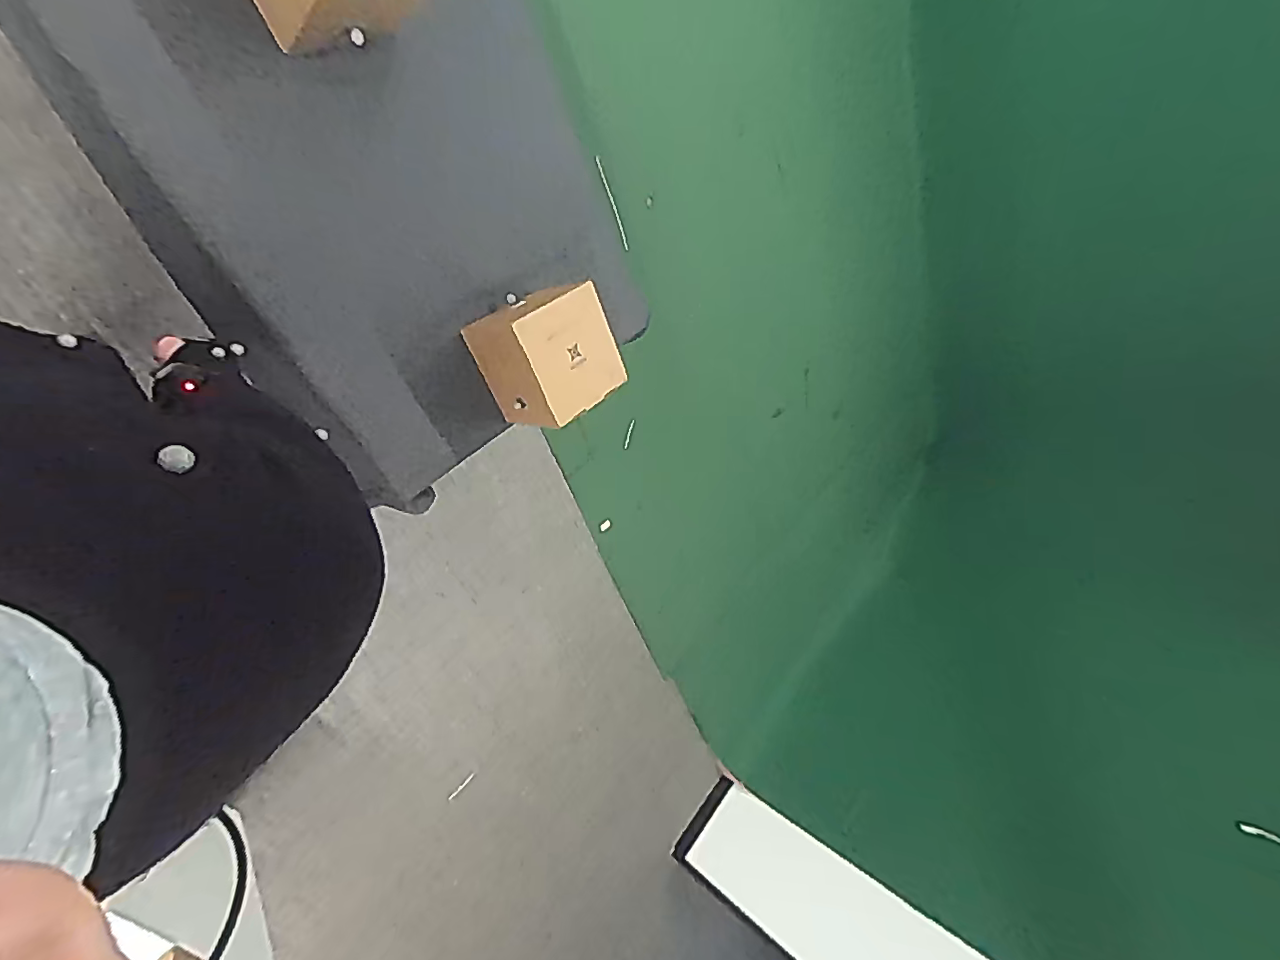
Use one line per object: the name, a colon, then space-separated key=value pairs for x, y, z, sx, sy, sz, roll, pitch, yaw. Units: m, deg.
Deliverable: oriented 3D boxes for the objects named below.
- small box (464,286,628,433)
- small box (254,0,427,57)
small box: x=-0.154 y=-0.199 z=0.893 sx=0.168 sy=0.176 sz=0.179 roll=-42 pitch=124 yaw=-30
small box: x=-0.359 y=-0.621 z=0.604 sx=0.168 sy=0.176 sz=0.179 roll=-42 pitch=126 yaw=-28
